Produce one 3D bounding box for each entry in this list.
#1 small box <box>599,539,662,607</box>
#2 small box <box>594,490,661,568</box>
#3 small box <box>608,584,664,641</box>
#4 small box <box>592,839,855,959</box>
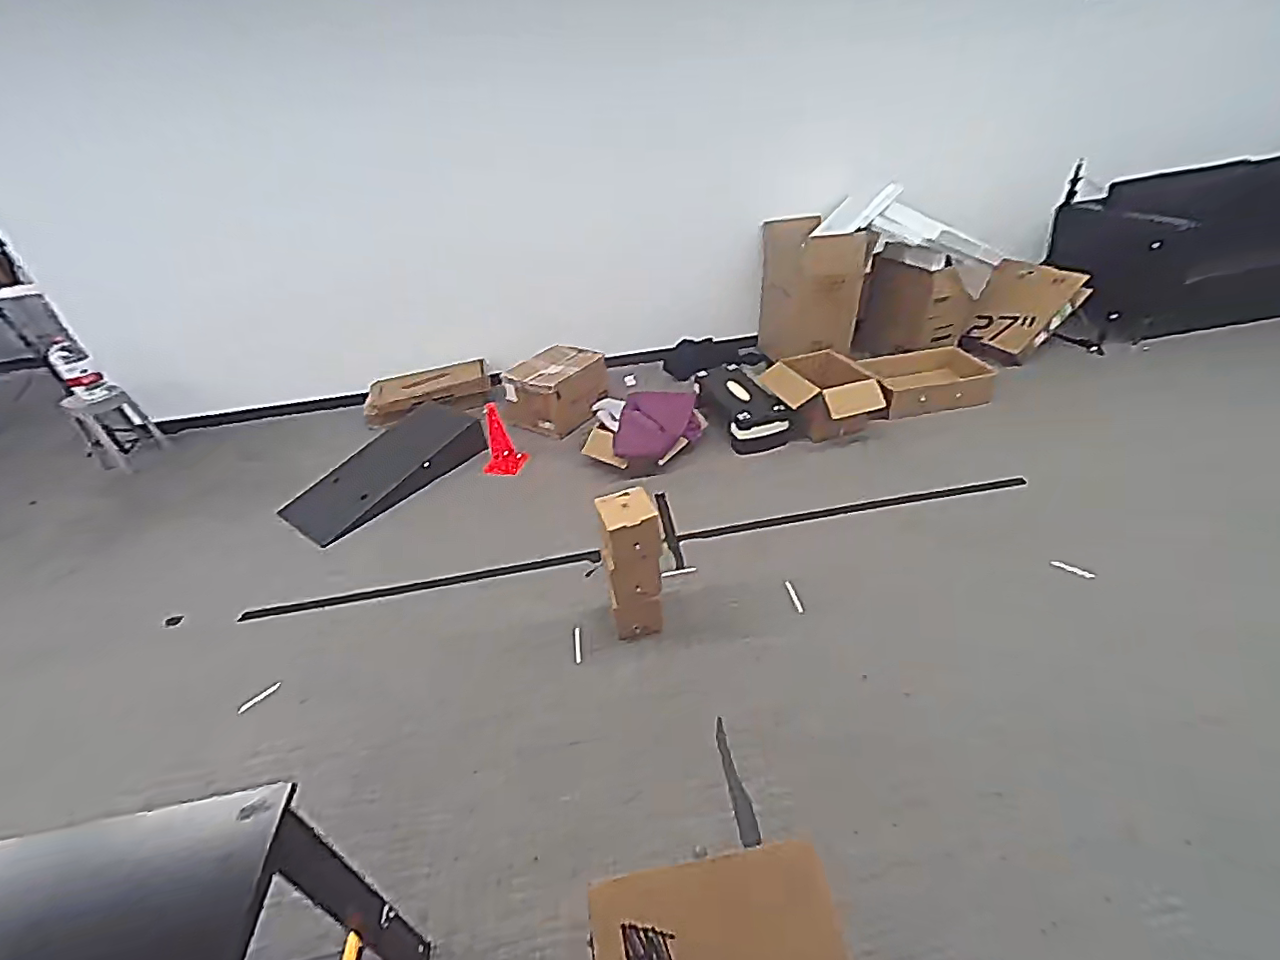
[{"bbox_3d":[-0.033,0.298,1.838,0.168,0.176,0.179,-15,35,-9],"label":"small box"},{"bbox_3d":[-0.038,0.164,1.743,0.168,0.176,0.179,-16,36,-11],"label":"small box"},{"bbox_3d":[-0.017,0.440,1.921,0.168,0.176,0.179,-12,36,-6],"label":"small box"},{"bbox_3d":[0.064,0.397,0.414,0.179,0.176,0.168,-7,51,-6],"label":"small box"}]
